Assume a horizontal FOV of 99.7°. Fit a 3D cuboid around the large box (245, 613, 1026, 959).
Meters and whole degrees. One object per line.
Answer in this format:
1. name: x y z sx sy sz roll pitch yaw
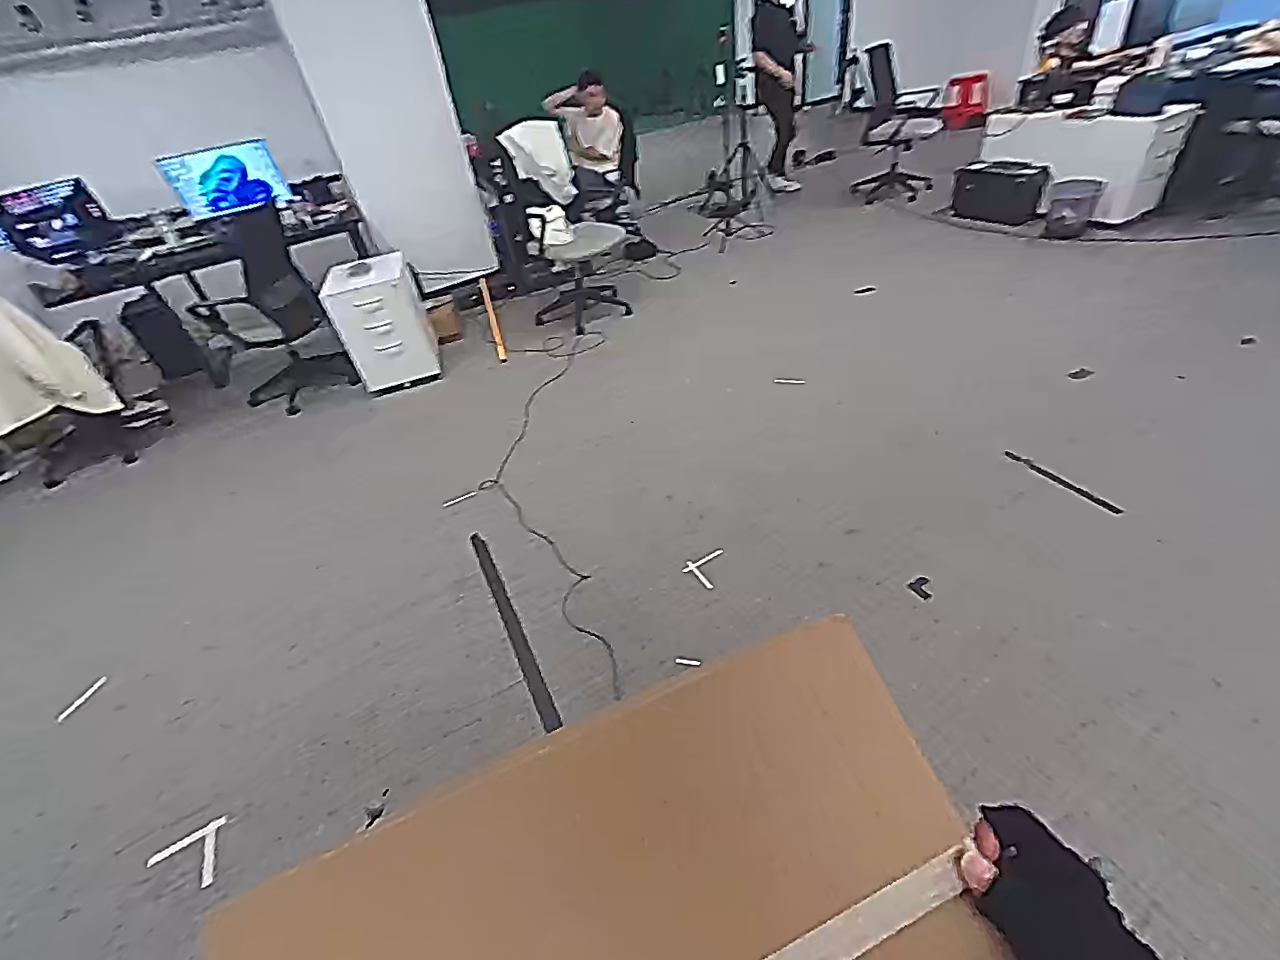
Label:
1. large box: 0.008 0.350 0.432 0.408 0.320 0.320 -21 72 -12
